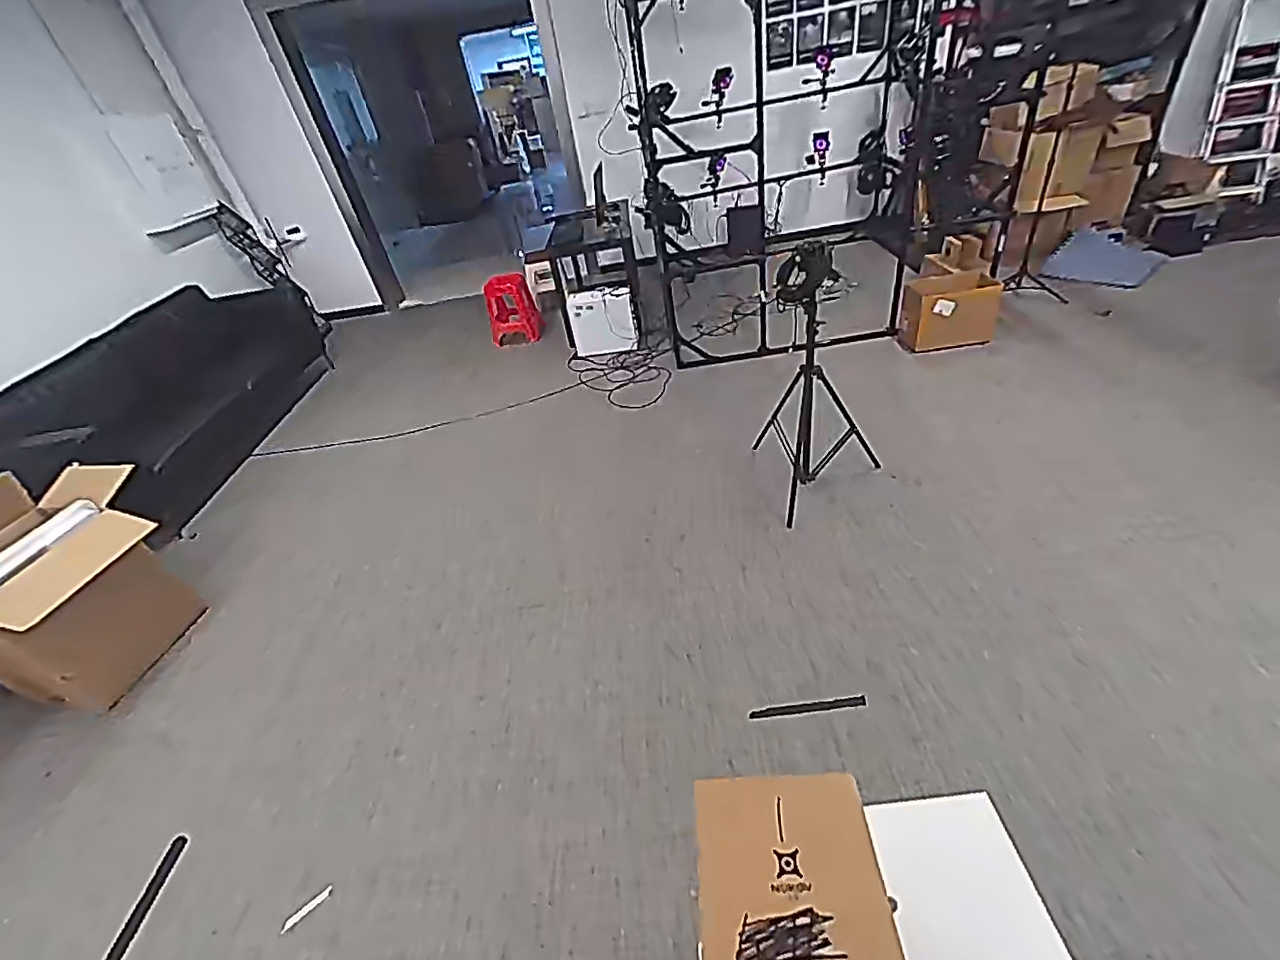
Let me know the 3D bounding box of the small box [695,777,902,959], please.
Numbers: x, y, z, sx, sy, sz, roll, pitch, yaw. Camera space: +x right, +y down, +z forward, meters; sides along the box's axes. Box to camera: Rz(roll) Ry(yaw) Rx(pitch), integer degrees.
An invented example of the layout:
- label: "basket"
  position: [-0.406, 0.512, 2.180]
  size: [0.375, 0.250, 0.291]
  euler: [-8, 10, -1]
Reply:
- label: "small box"
  position: [0.148, 0.426, 0.537]
  size: [0.168, 0.176, 0.179]
  euler: [-7, 37, 7]
